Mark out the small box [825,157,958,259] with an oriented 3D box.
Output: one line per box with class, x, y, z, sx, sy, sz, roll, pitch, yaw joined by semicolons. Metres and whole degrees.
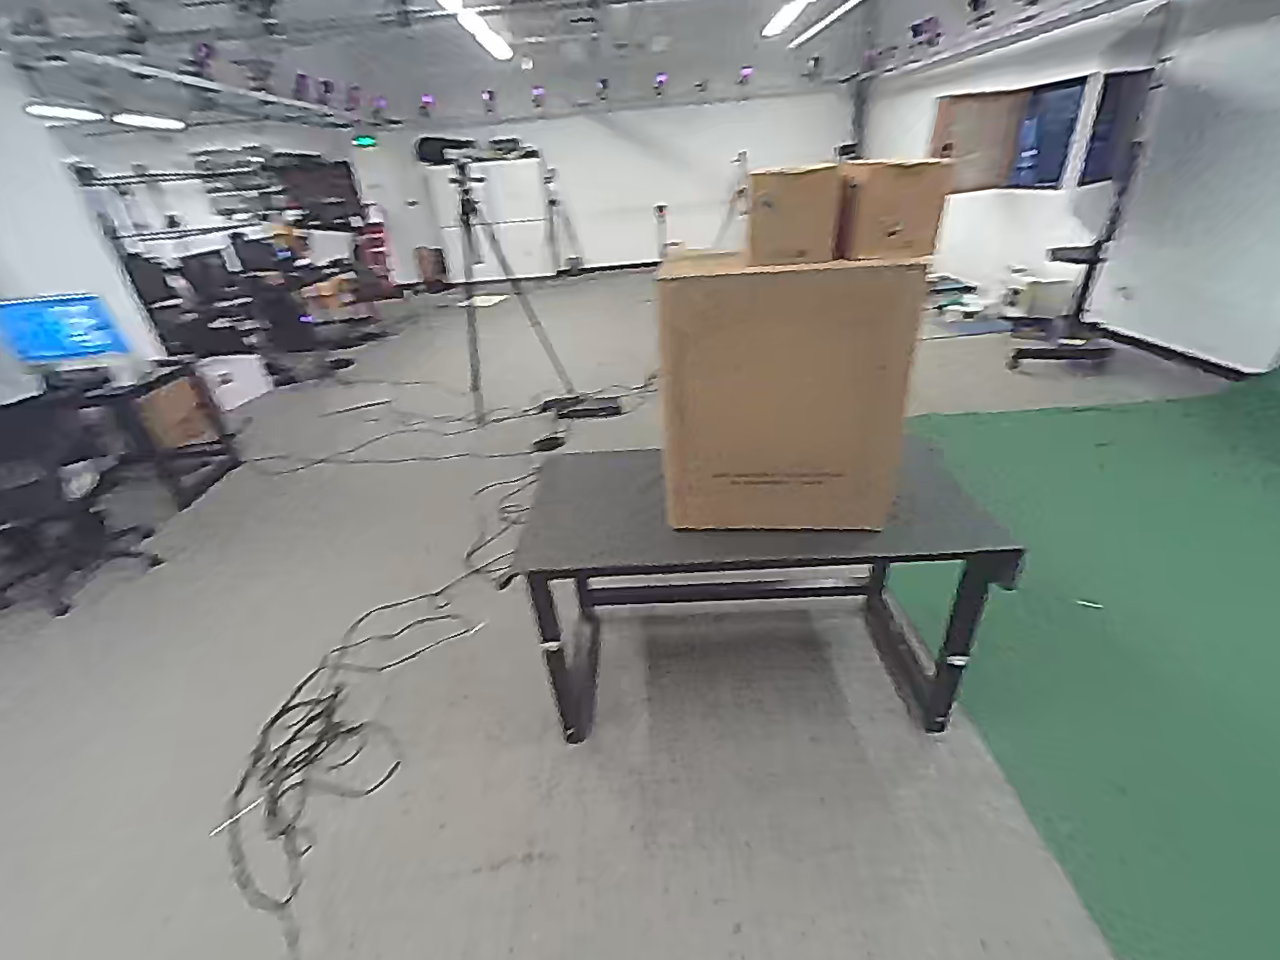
small box;0.489;-0.548;1.084;0.168;0.176;0.179;-3;33;-3
